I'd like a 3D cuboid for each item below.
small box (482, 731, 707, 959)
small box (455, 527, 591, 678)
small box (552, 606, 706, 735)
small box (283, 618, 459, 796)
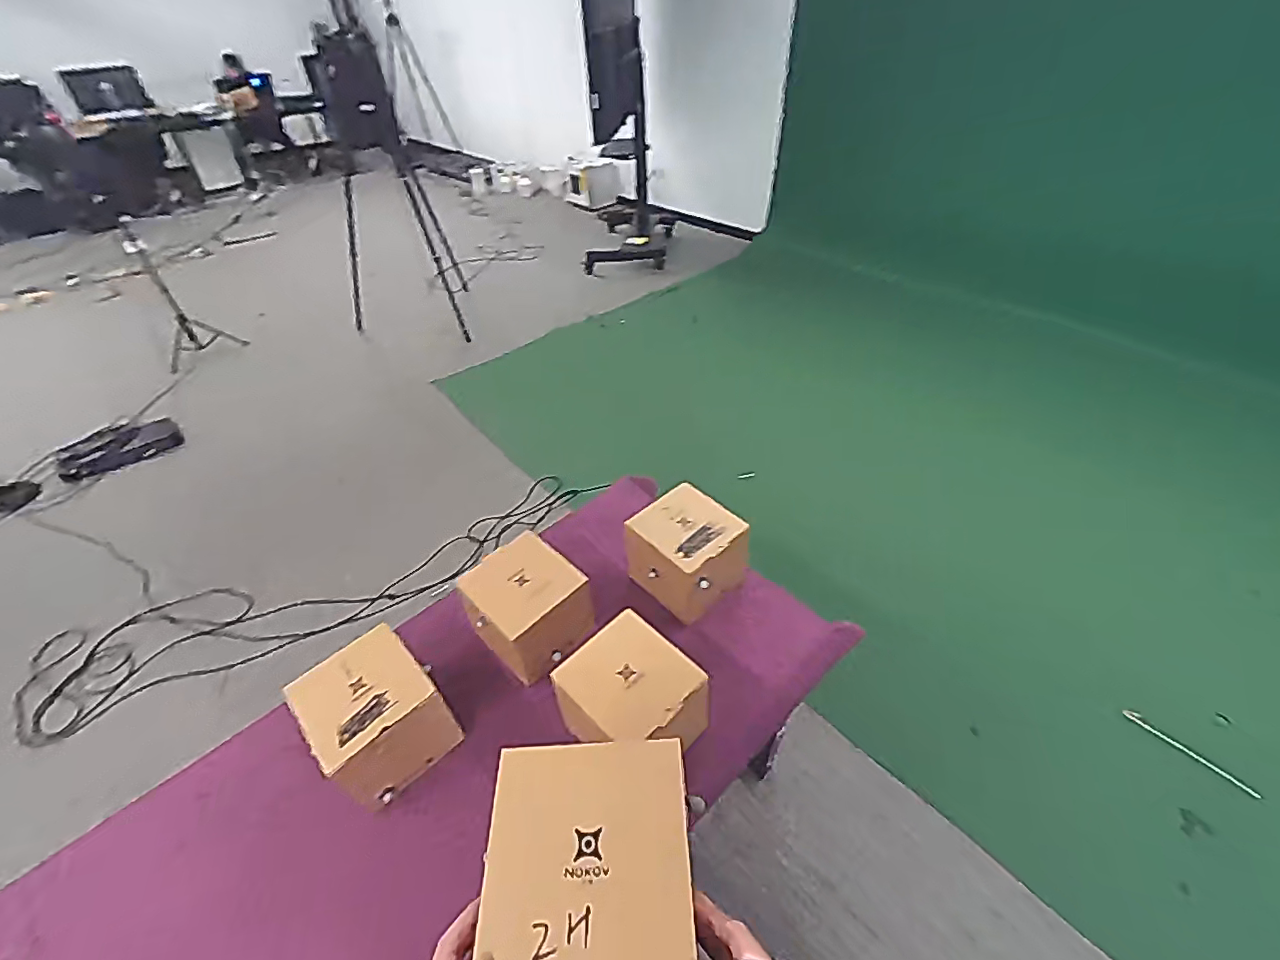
[{"bbox_3d":[-0.029,0.350,0.494,0.168,0.176,0.179,-3,47,3],"label":"small box"},{"bbox_3d":[-0.208,0.226,0.997,0.179,0.176,0.168,34,54,31],"label":"small box"},{"bbox_3d":[-0.016,0.344,0.860,0.168,0.176,0.179,-34,51,-30],"label":"small box"},{"bbox_3d":[-0.414,0.362,0.855,0.168,0.176,0.179,-34,51,-30],"label":"small box"}]
